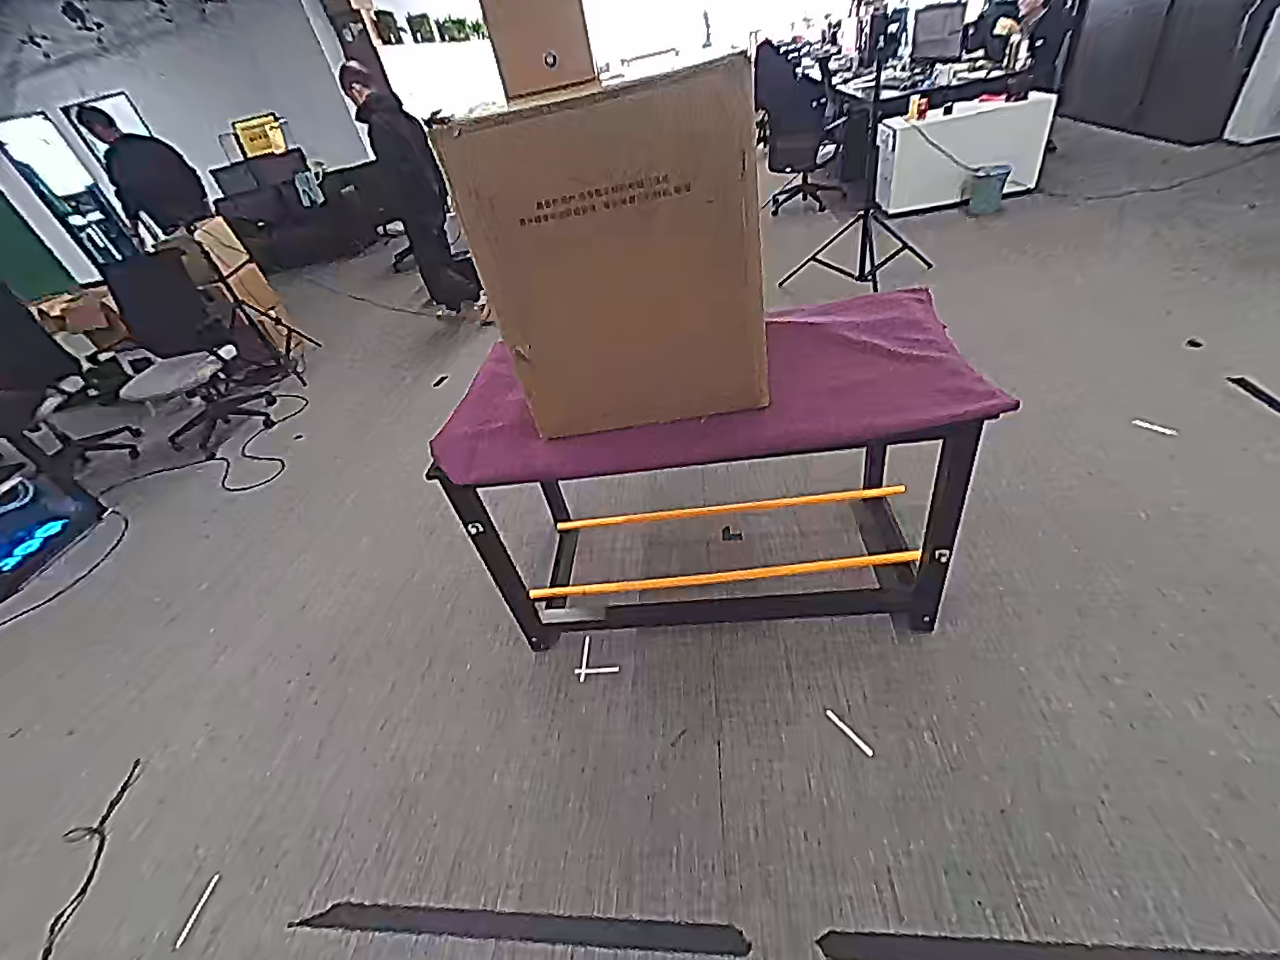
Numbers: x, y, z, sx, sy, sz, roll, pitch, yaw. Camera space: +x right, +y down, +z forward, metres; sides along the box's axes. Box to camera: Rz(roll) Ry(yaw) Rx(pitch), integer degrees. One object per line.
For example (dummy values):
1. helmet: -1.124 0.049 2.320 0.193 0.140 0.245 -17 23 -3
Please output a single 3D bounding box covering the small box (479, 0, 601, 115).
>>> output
1. small box: -0.178 -0.814 1.019 0.179 0.176 0.168 -8 39 5
